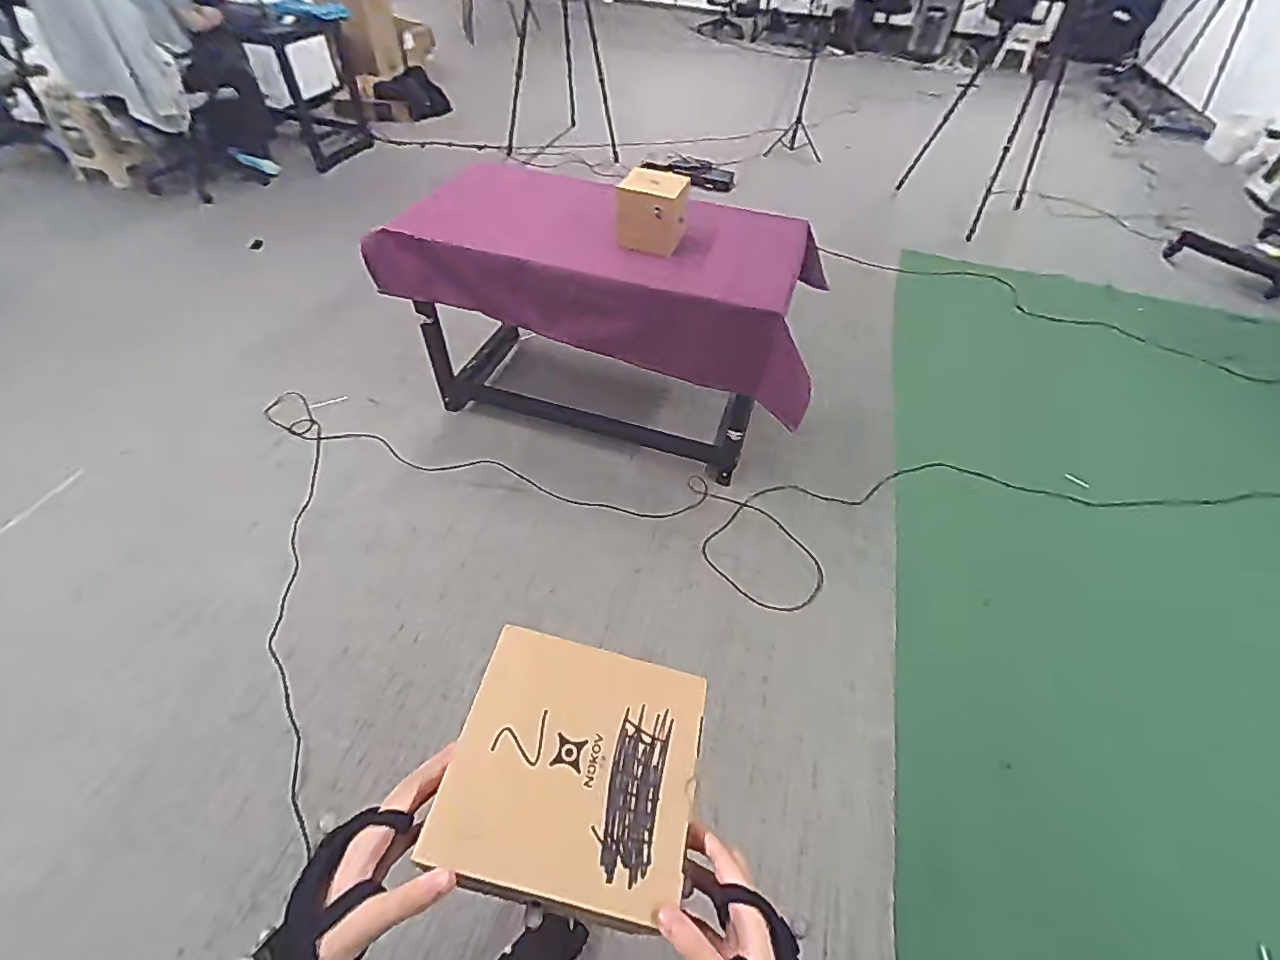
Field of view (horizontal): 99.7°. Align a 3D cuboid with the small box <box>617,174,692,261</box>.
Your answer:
[{"bbox_3d":[0.040,-0.771,1.597,0.179,0.176,0.168,17,49,11],"label":"small box"}]
